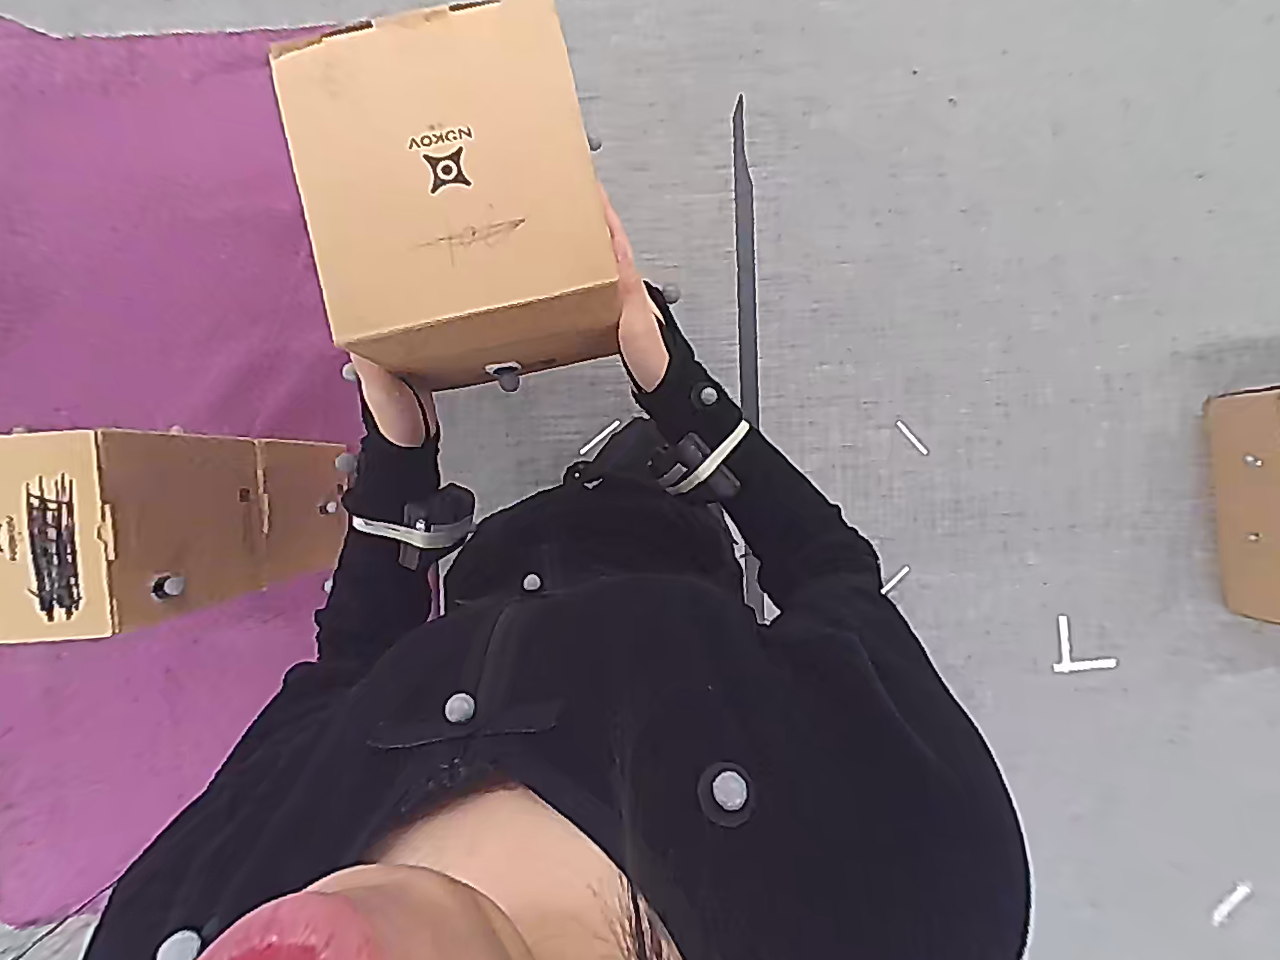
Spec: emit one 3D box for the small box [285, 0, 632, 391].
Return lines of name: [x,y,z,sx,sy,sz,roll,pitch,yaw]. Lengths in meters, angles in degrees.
small box: [-0.106,-0.177,0.388,0.168,0.176,0.179,-14,90,-2]

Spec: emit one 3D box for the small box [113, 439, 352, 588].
small box: [-0.489,0.036,0.671,0.179,0.176,0.168,0,92,0]
